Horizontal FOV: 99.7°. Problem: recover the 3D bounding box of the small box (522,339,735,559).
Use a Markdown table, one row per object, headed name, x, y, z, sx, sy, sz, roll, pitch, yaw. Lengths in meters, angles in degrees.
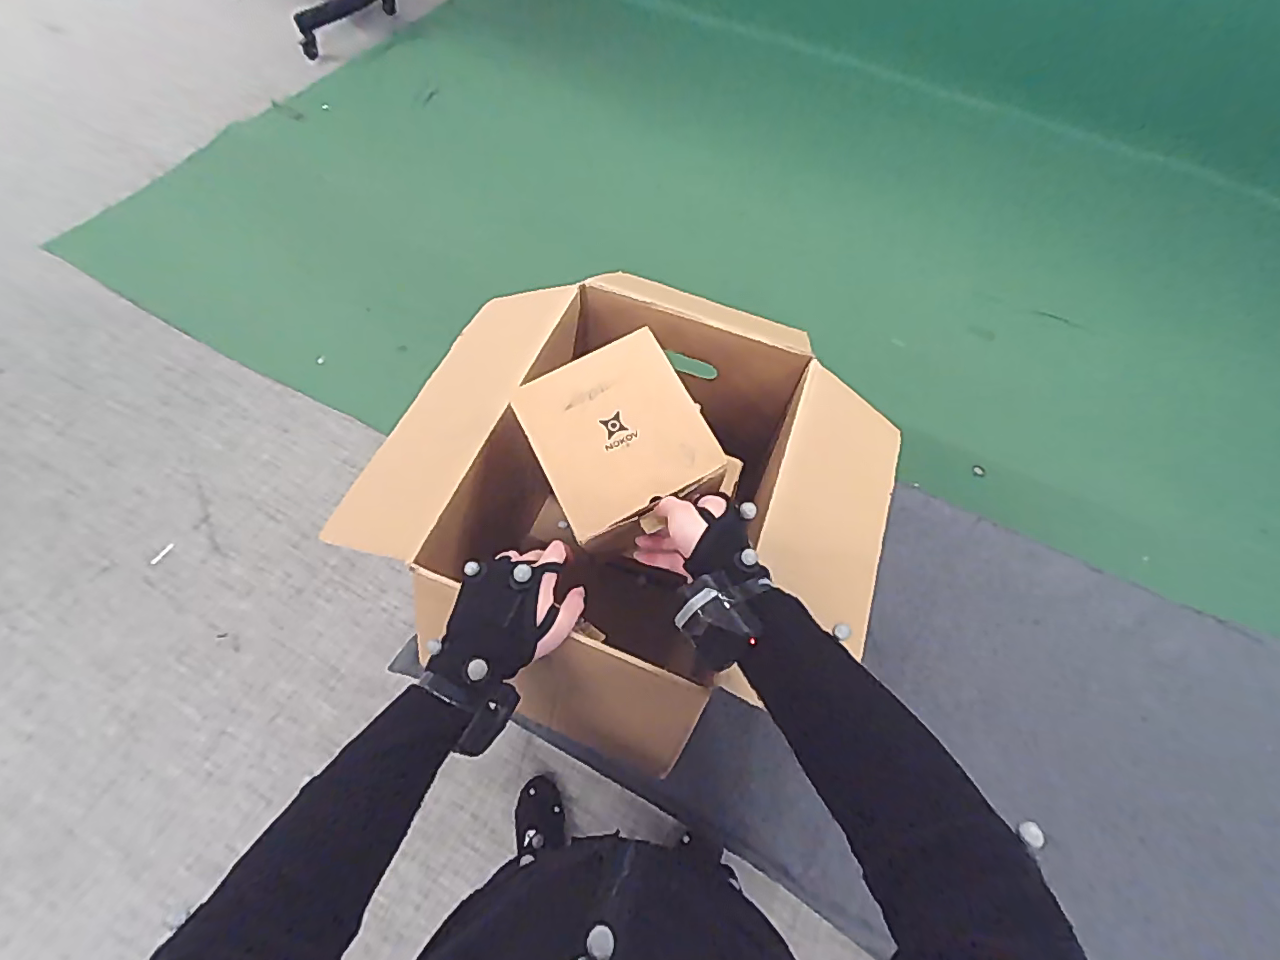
| name | x | y | z | sx | sy | sz | roll | pitch | yaw |
| --- | --- | --- | --- | --- | --- | --- | --- | --- | --- |
| small box | -0.011 | -0.021 | 0.622 | 0.168 | 0.176 | 0.179 | -26 | 73 | -7 |
